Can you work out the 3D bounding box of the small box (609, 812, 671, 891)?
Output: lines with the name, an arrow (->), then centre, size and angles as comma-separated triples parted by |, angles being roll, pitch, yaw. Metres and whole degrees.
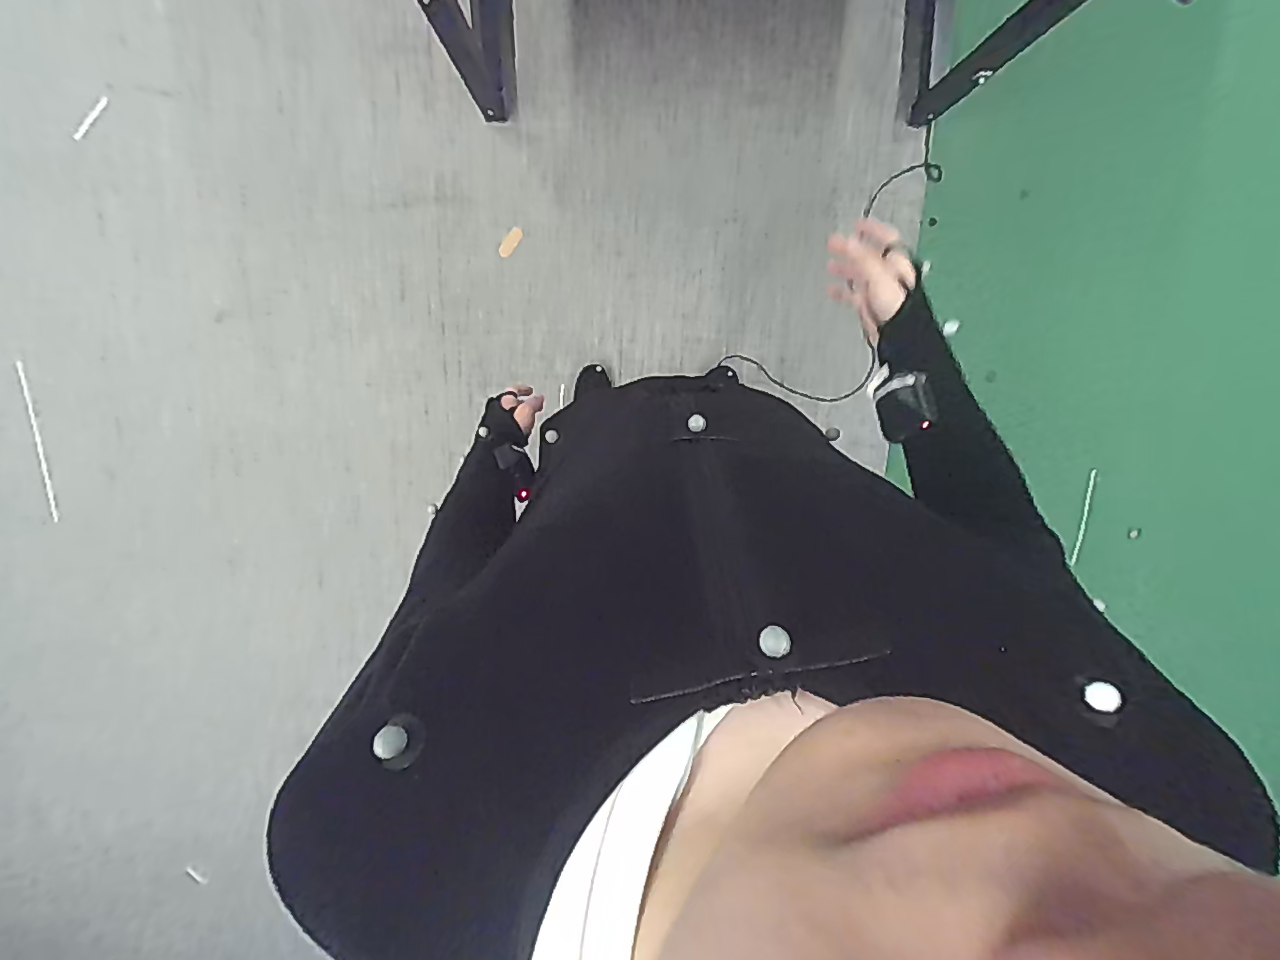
small box -> -0.002, 1.250, 1.810 | 0.179, 0.176, 0.168 | 10, 102, -4
